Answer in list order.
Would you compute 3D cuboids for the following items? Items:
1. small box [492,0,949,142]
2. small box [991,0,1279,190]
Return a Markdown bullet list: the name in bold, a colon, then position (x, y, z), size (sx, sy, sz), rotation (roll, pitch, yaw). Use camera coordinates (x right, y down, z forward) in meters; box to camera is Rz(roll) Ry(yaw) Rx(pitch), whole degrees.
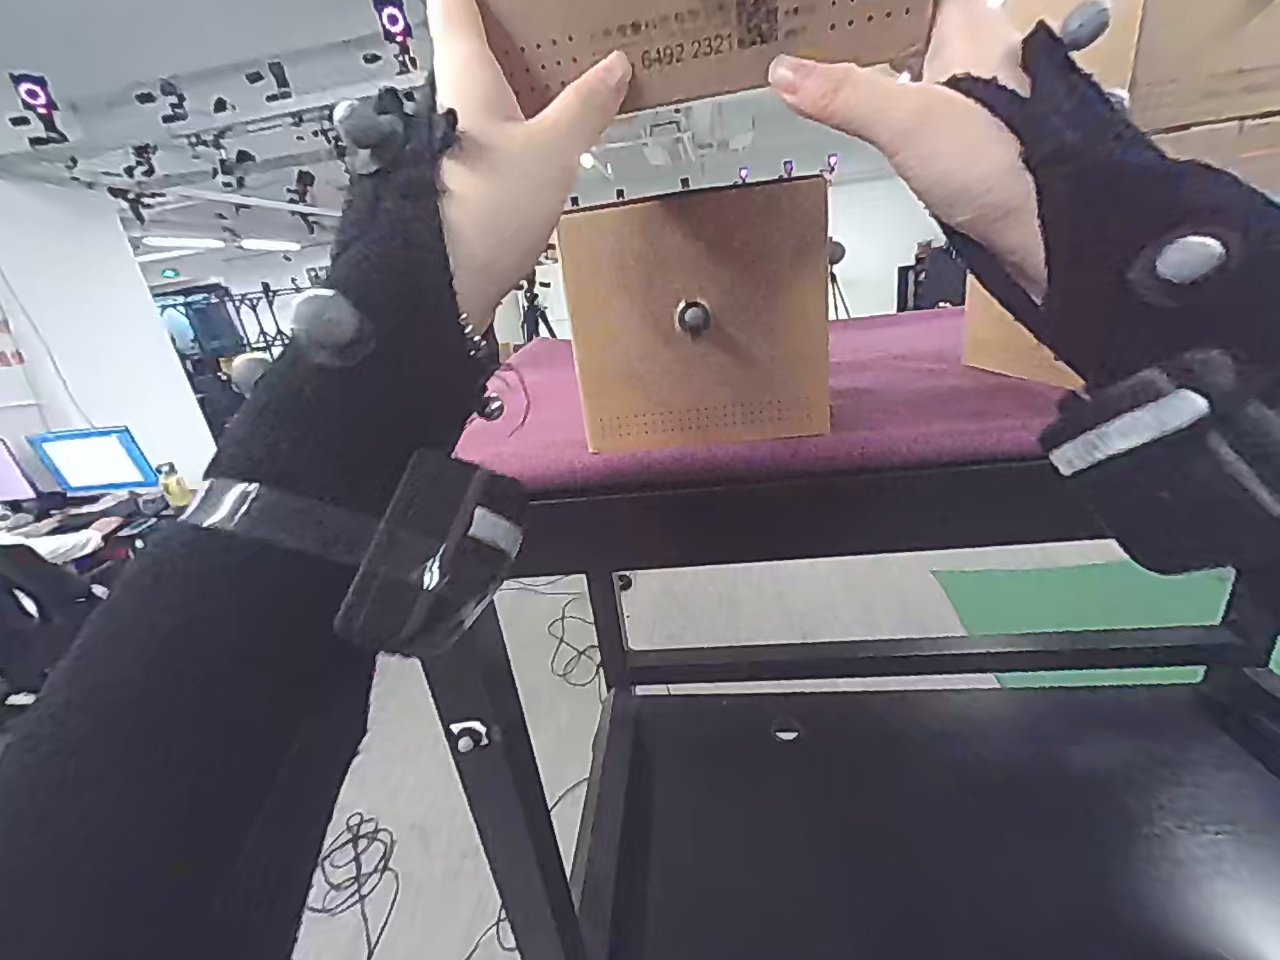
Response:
- **small box**: position (0.024, -0.254, 0.222), size (0.168, 0.176, 0.179), rotation (-5, 39, 9)
- **small box**: position (0.383, -0.320, 0.384), size (0.168, 0.176, 0.179), rotation (-5, 21, 6)
